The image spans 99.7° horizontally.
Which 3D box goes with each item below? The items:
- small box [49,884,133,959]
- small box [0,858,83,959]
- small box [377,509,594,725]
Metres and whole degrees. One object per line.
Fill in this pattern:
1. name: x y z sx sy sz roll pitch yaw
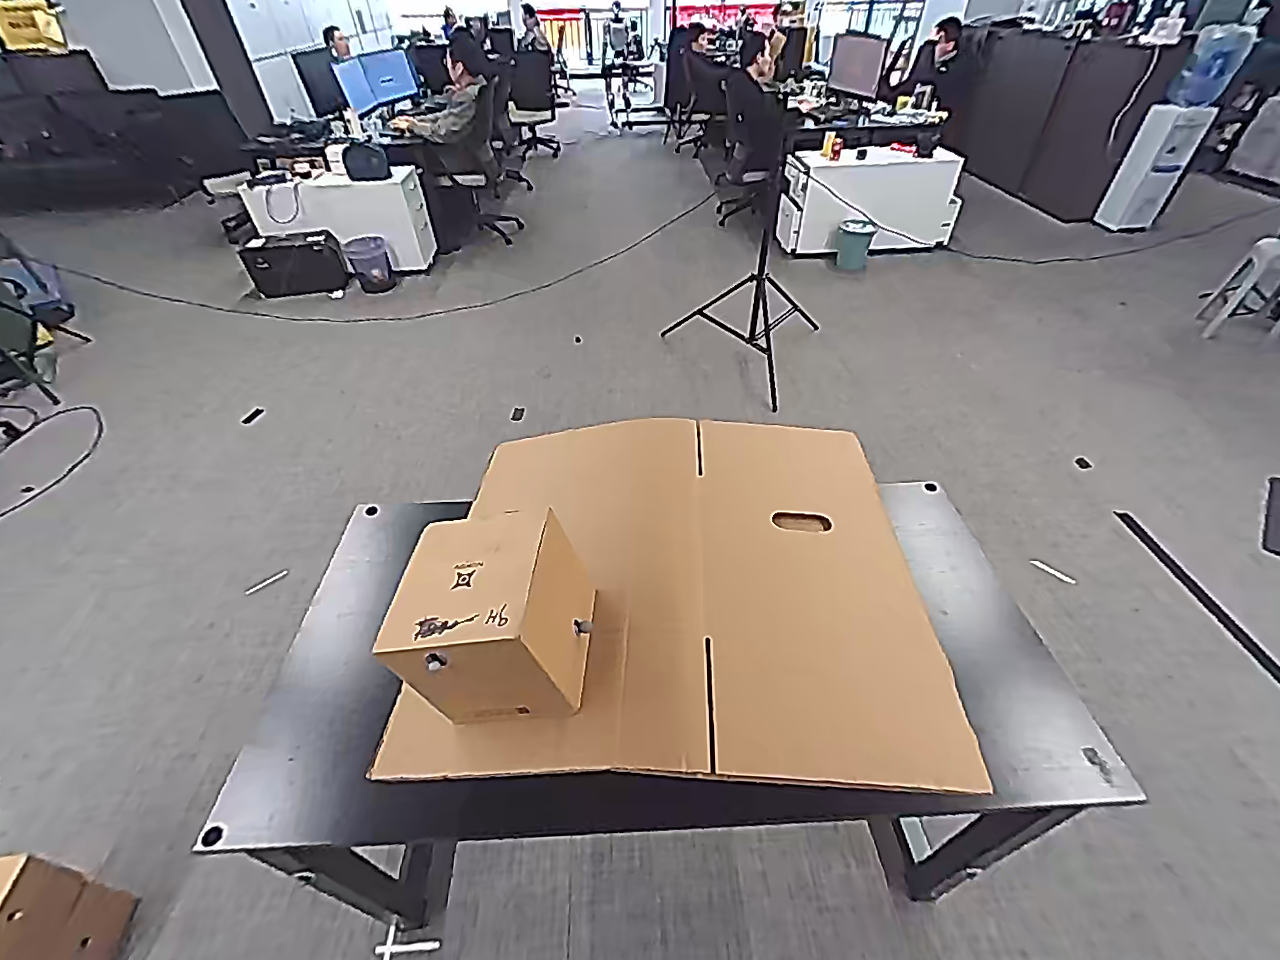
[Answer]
1. small box: -1.208 0.962 1.108 0.168 0.176 0.179 -5 43 -4
2. small box: -1.214 0.838 1.002 0.168 0.176 0.179 -7 42 -7
3. small box: -0.162 0.162 0.637 0.168 0.176 0.179 -10 41 13
